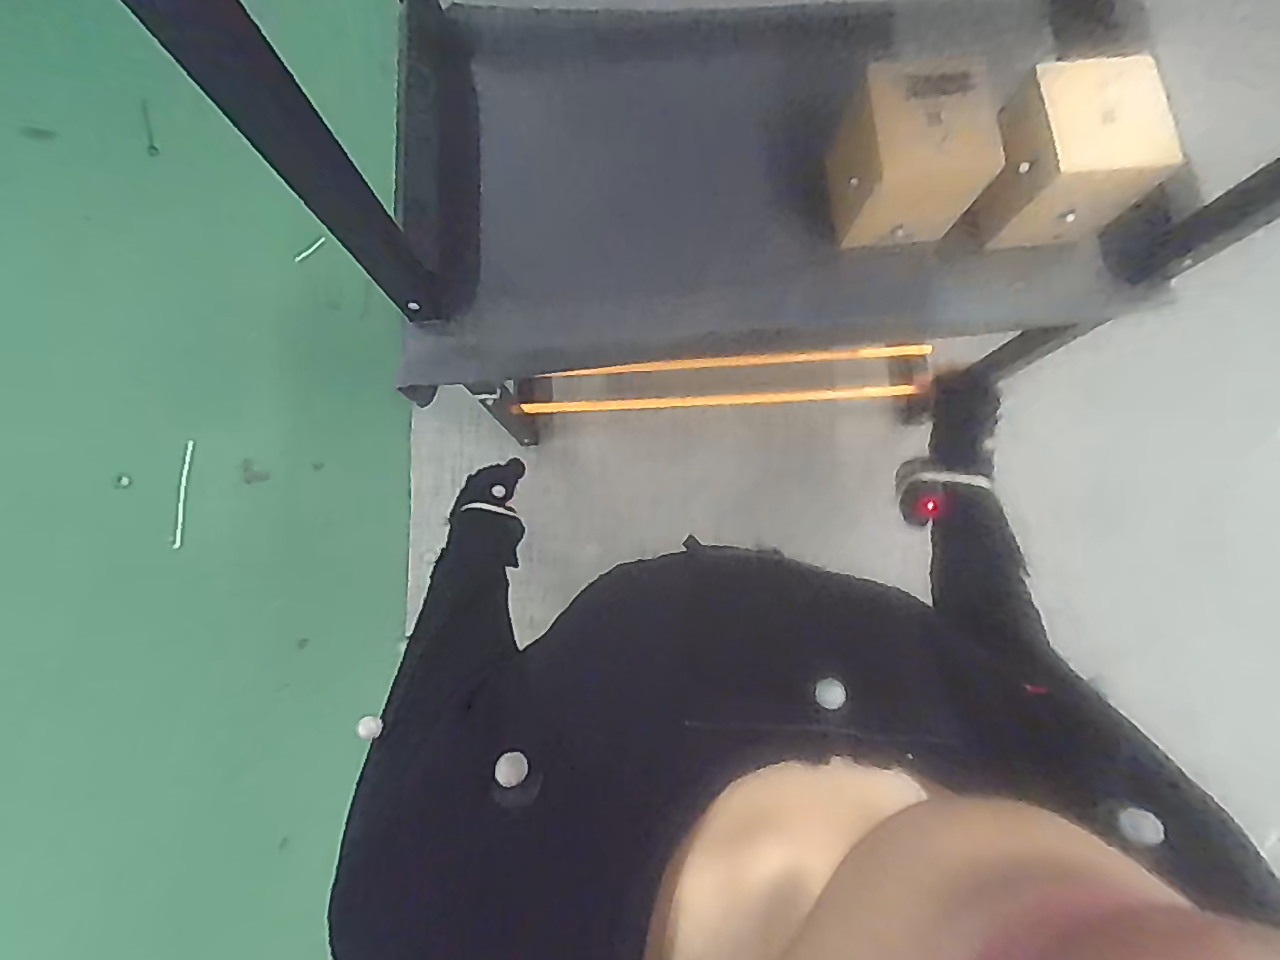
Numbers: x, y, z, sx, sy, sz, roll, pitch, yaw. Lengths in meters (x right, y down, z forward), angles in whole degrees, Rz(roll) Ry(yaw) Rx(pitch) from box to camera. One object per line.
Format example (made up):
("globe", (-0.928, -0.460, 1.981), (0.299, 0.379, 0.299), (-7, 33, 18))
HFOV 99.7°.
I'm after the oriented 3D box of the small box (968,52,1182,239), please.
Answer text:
("small box", (0.627, -0.481, 0.804), (0.168, 0.176, 0.179), (-5, 78, 0))
